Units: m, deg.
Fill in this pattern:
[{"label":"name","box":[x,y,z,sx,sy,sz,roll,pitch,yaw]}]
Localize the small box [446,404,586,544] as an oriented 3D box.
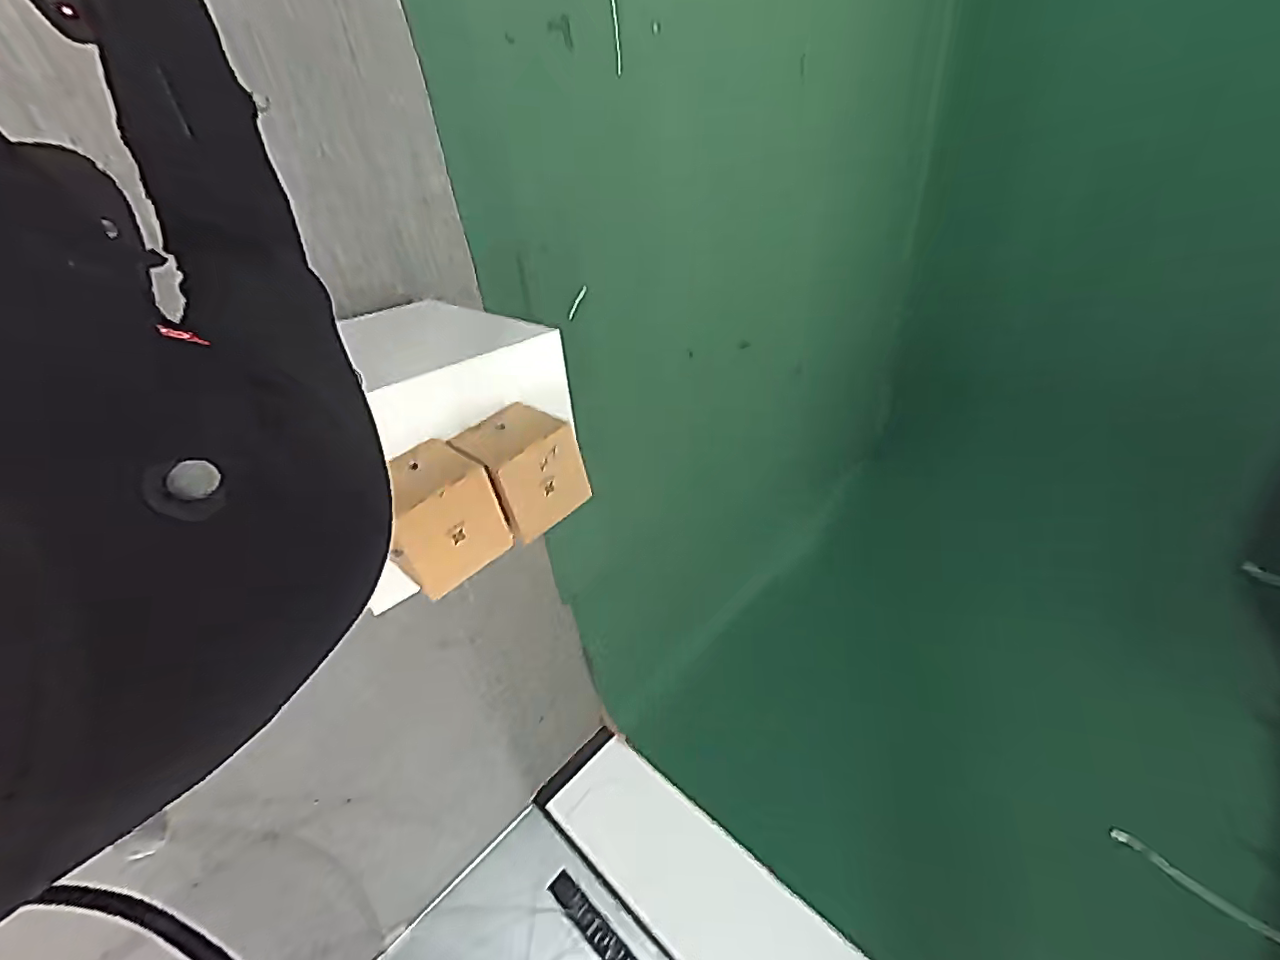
[{"label":"small box","box":[-0.230,-0.019,1.011,0.168,0.176,0.179,-37,134,-31]}]
